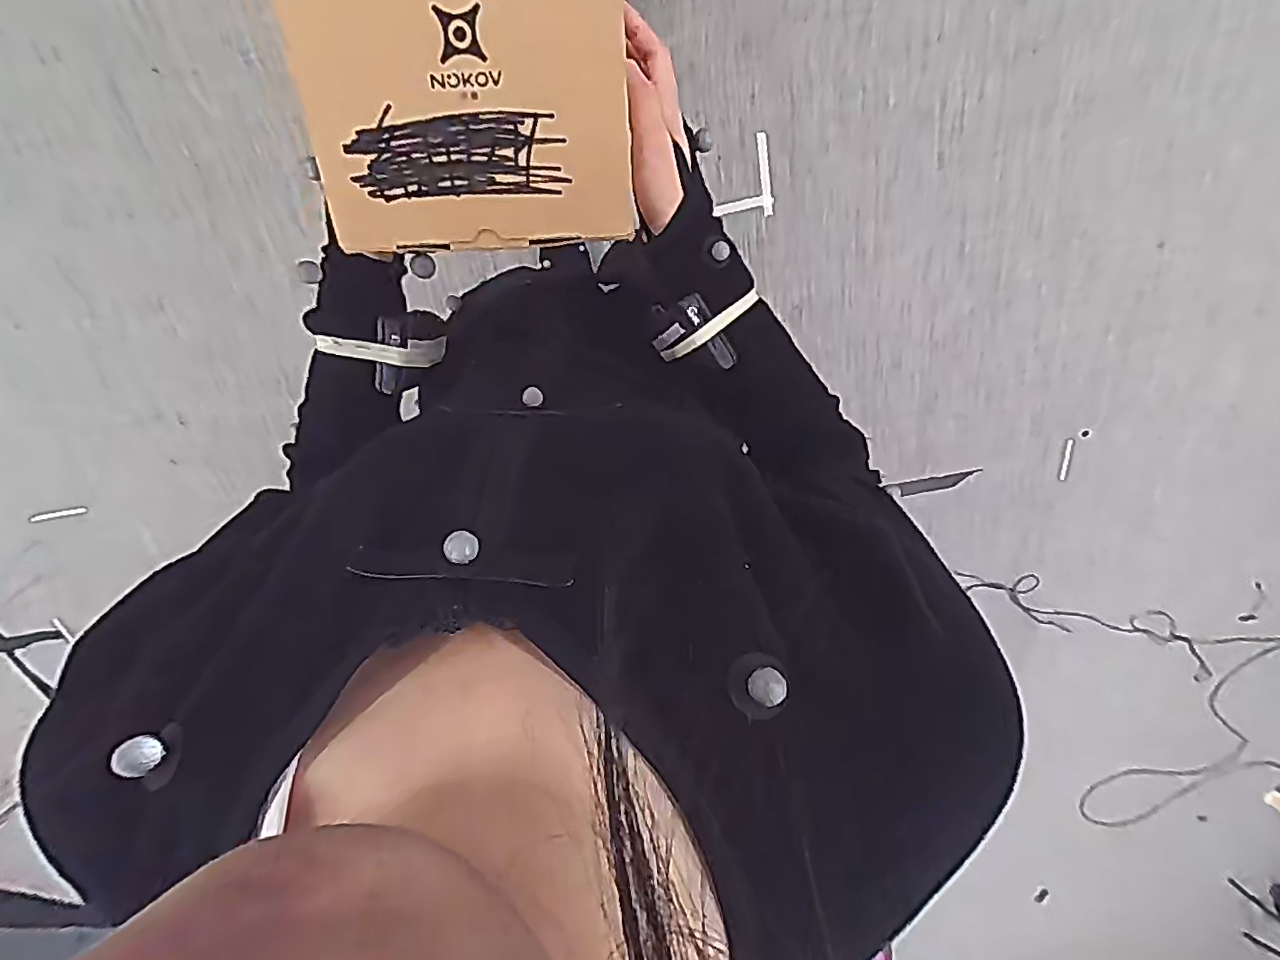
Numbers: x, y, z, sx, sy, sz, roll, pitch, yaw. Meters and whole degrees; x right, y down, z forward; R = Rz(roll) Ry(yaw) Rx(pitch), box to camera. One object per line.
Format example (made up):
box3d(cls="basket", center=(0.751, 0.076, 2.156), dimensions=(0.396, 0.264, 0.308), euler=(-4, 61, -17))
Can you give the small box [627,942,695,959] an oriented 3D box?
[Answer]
box3d(cls="small box", center=(0.065, 1.257, 1.295), dimensions=(0.168, 0.176, 0.179), euler=(-9, 116, -3))
